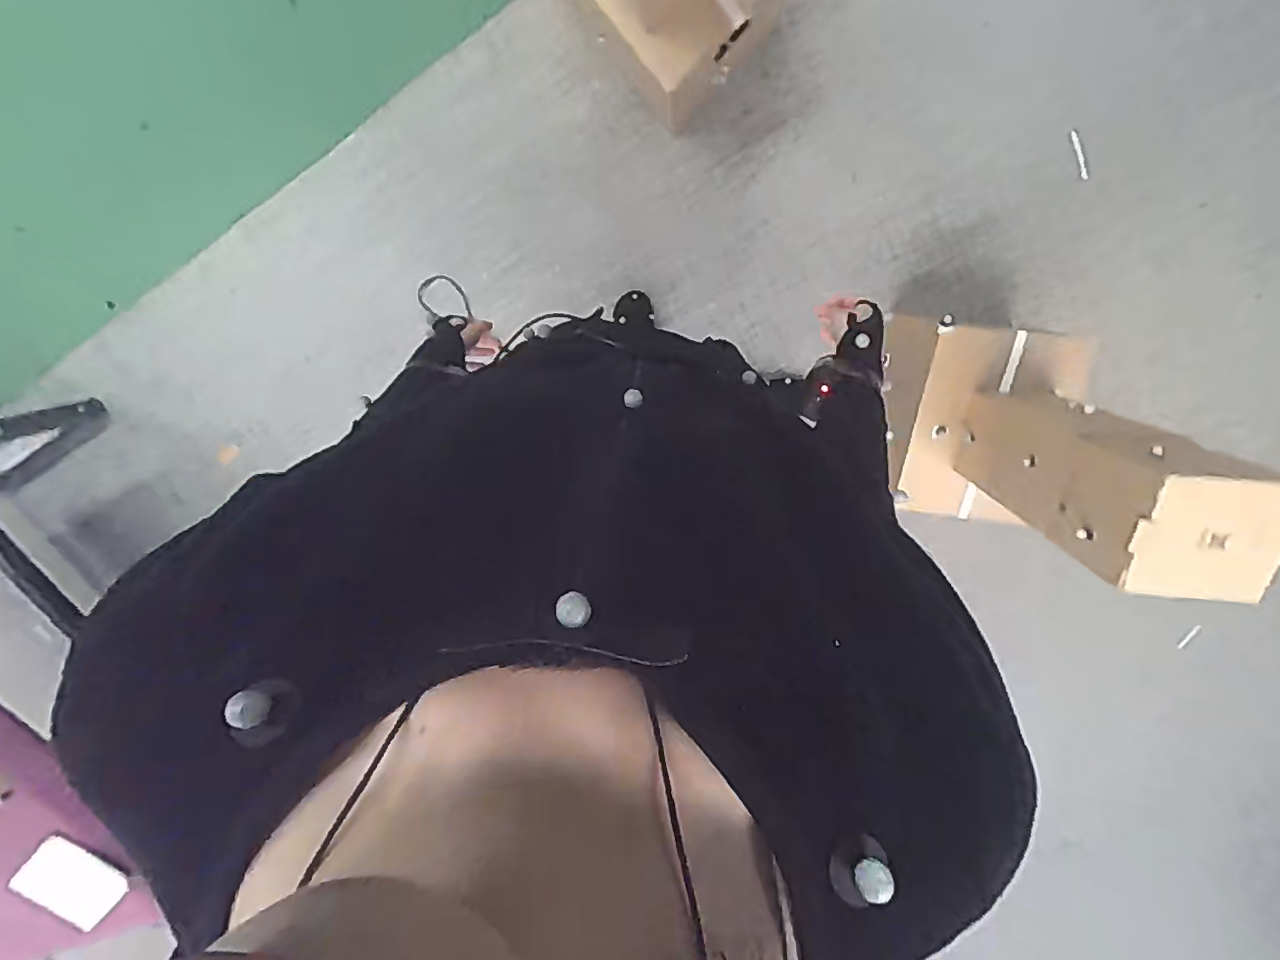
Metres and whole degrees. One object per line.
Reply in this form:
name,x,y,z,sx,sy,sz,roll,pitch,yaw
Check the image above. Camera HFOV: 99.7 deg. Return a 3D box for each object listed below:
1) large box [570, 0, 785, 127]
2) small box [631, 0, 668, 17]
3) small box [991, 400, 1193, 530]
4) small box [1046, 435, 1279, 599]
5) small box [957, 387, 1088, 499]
large box,0.043,-0.978,1.013,0.320,0.320,0.408,-40,102,16
small box,0.020,-0.852,0.799,0.179,0.176,0.168,-34,105,16
small box,0.721,-0.022,0.892,0.168,0.176,0.179,6,111,2
small box,0.713,0.042,0.742,0.179,0.176,0.168,4,112,2
small box,0.748,-0.072,1.047,0.168,0.176,0.179,2,112,2
